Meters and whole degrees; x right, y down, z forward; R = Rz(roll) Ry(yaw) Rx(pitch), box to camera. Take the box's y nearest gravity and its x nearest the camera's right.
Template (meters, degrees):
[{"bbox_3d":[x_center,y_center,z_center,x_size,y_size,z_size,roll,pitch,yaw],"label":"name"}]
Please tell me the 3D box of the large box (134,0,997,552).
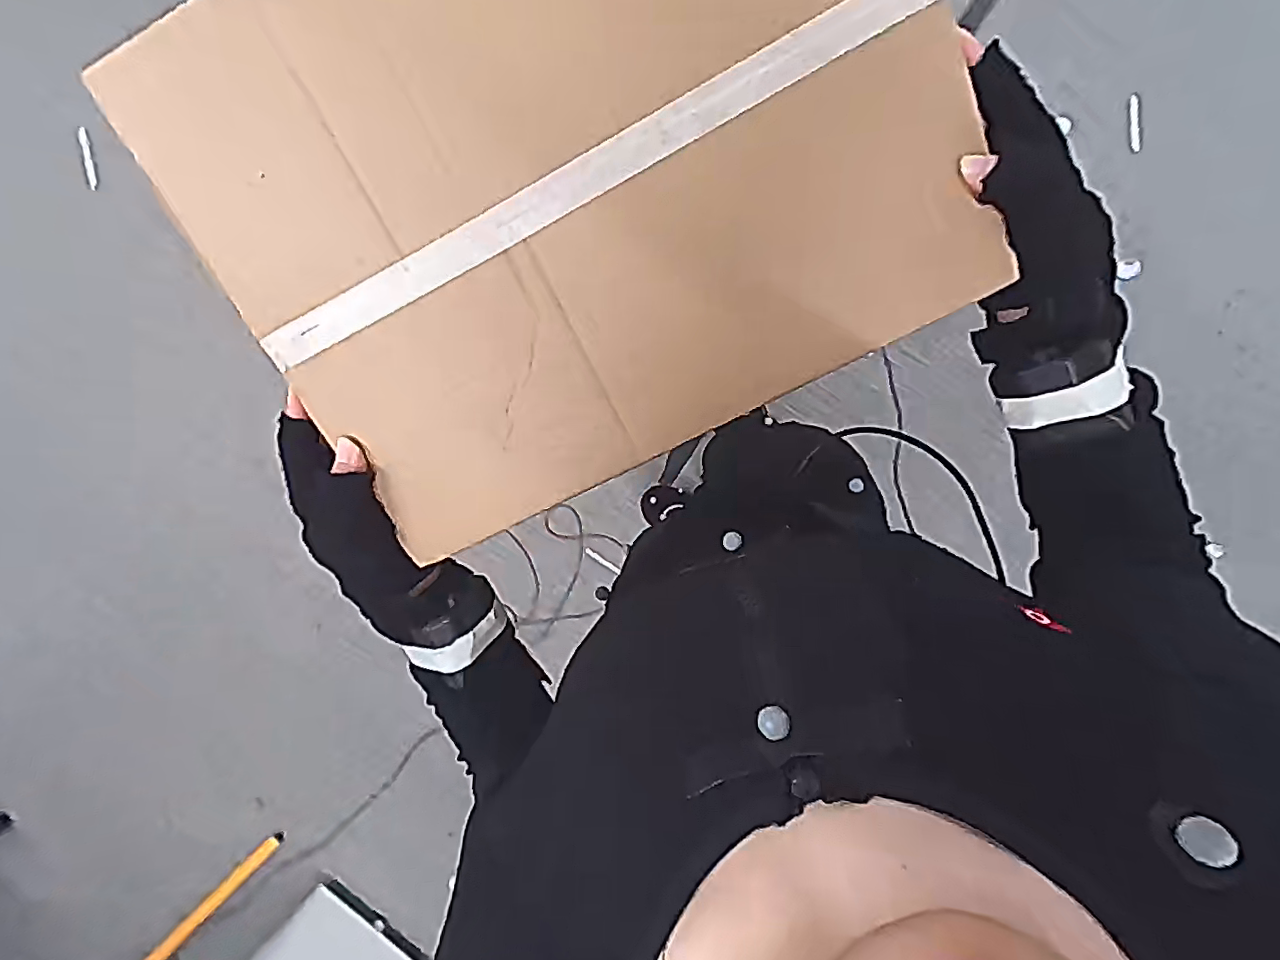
[{"bbox_3d":[-0.029,-0.208,0.444,0.408,0.320,0.320,-24,105,7],"label":"large box"}]
